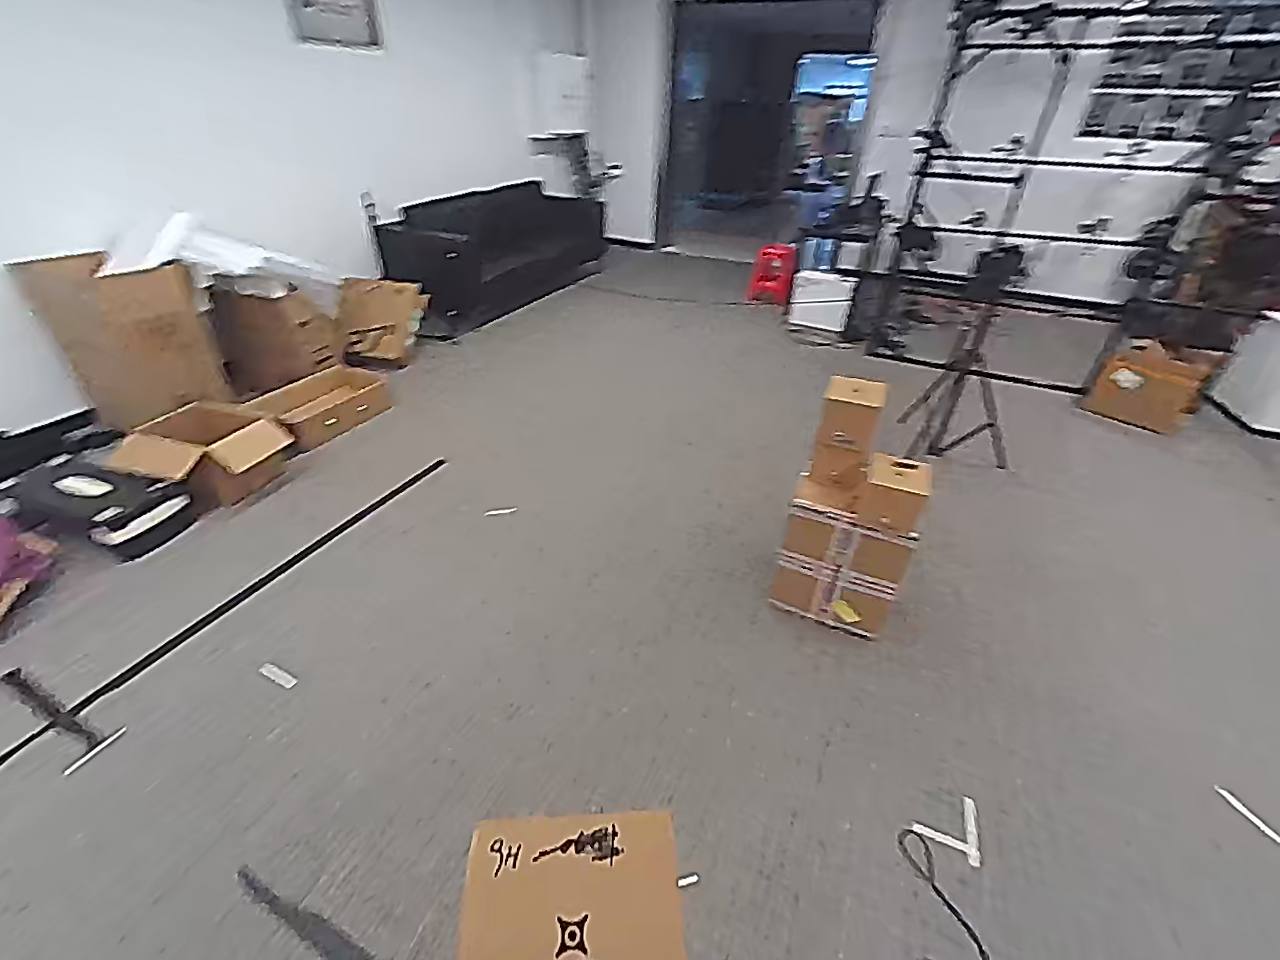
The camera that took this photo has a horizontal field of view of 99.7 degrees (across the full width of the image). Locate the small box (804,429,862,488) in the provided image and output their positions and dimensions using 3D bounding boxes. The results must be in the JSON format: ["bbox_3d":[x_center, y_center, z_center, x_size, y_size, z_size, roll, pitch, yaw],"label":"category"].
[{"bbox_3d":[0.672,-0.098,1.865,0.168,0.176,0.179,14,39,20],"label":"small box"}]

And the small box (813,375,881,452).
[{"bbox_3d":[0.668,-0.217,1.751,0.168,0.176,0.179,14,39,20],"label":"small box"}]

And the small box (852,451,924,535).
[{"bbox_3d":[0.767,0.040,1.677,0.168,0.176,0.179,15,40,18],"label":"small box"}]
